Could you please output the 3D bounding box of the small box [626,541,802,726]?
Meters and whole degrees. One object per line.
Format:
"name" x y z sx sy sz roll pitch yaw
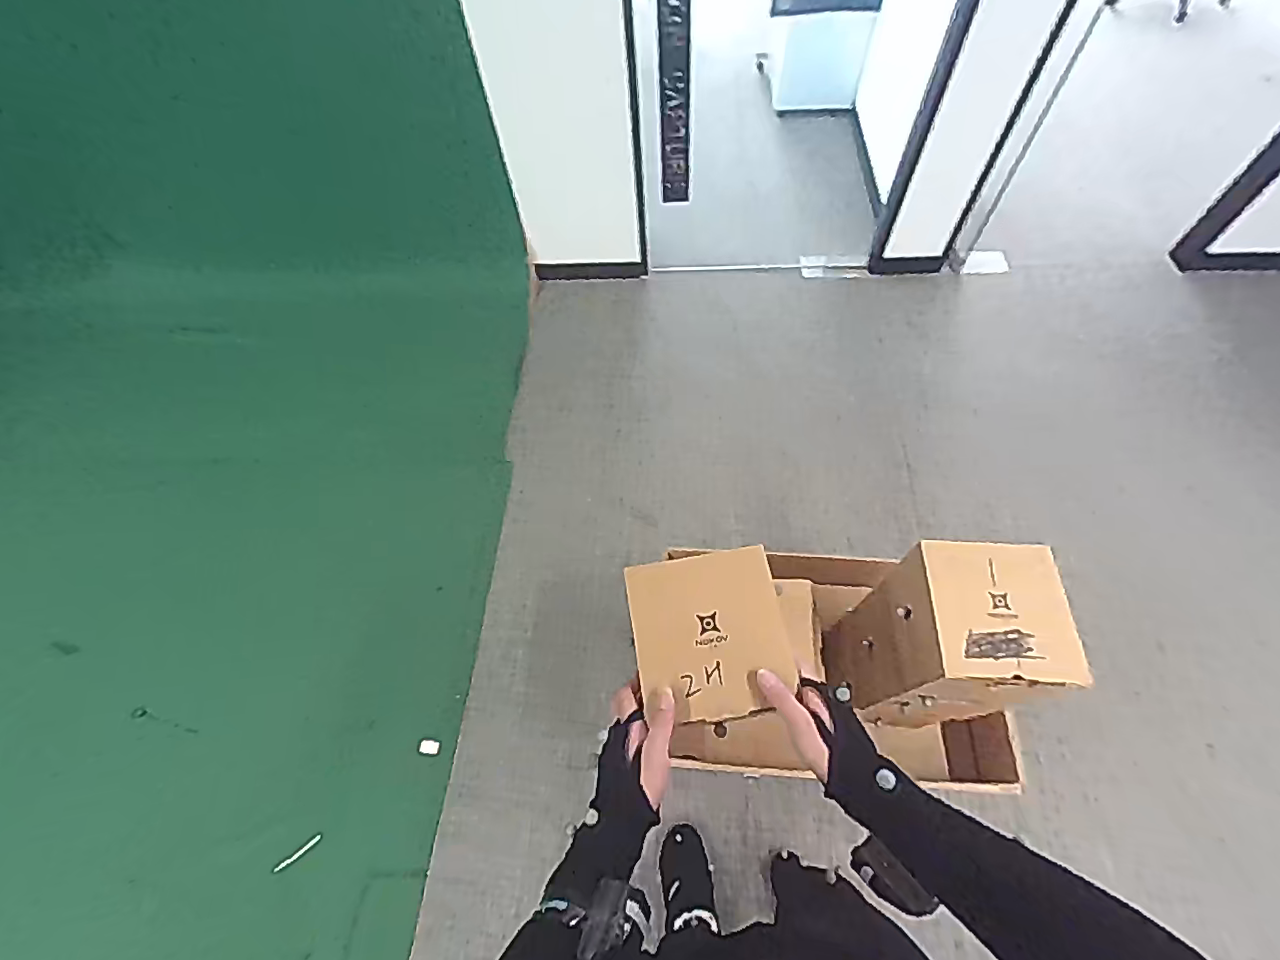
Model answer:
"small box" 0.079 0.192 0.655 0.168 0.176 0.179 -9 65 1

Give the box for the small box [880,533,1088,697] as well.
"small box" 0.444 0.188 0.733 0.168 0.176 0.179 3 60 5

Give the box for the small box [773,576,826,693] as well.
"small box" 0.191 0.262 0.897 0.179 0.176 0.168 0 61 3
